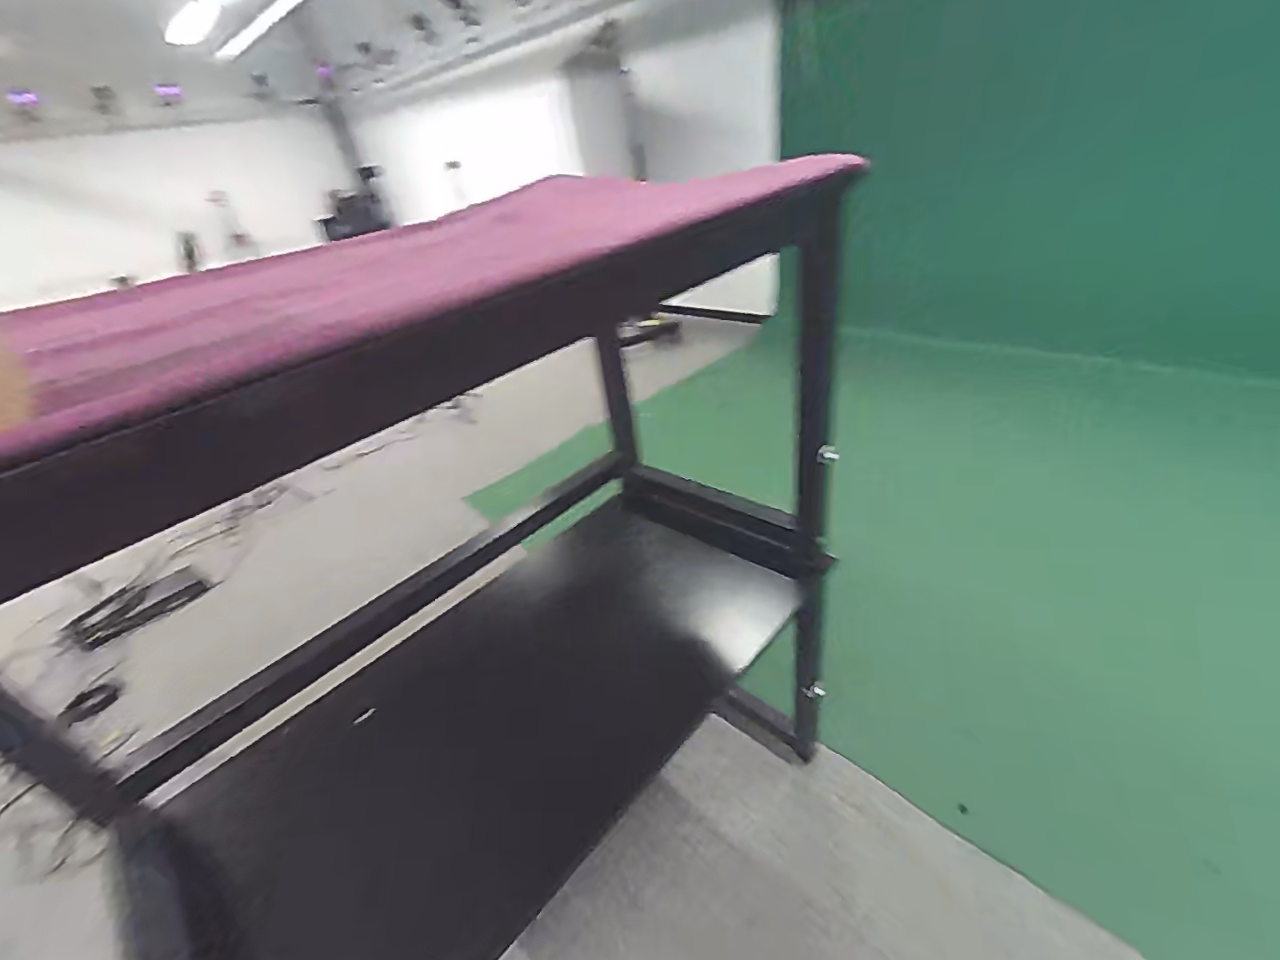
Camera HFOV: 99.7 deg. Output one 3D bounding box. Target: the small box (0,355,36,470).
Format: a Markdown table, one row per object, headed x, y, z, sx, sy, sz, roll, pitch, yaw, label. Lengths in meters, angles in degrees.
| x | y | z | sx | sy | sz | roll | pitch | yaw | label |
| --- | --- | --- | --- | --- | --- | --- | --- | --- | --- |
| -0.456 | -0.066 | 0.260 | 0.179 | 0.176 | 0.168 | 21 | 44 | 40 | small box |
